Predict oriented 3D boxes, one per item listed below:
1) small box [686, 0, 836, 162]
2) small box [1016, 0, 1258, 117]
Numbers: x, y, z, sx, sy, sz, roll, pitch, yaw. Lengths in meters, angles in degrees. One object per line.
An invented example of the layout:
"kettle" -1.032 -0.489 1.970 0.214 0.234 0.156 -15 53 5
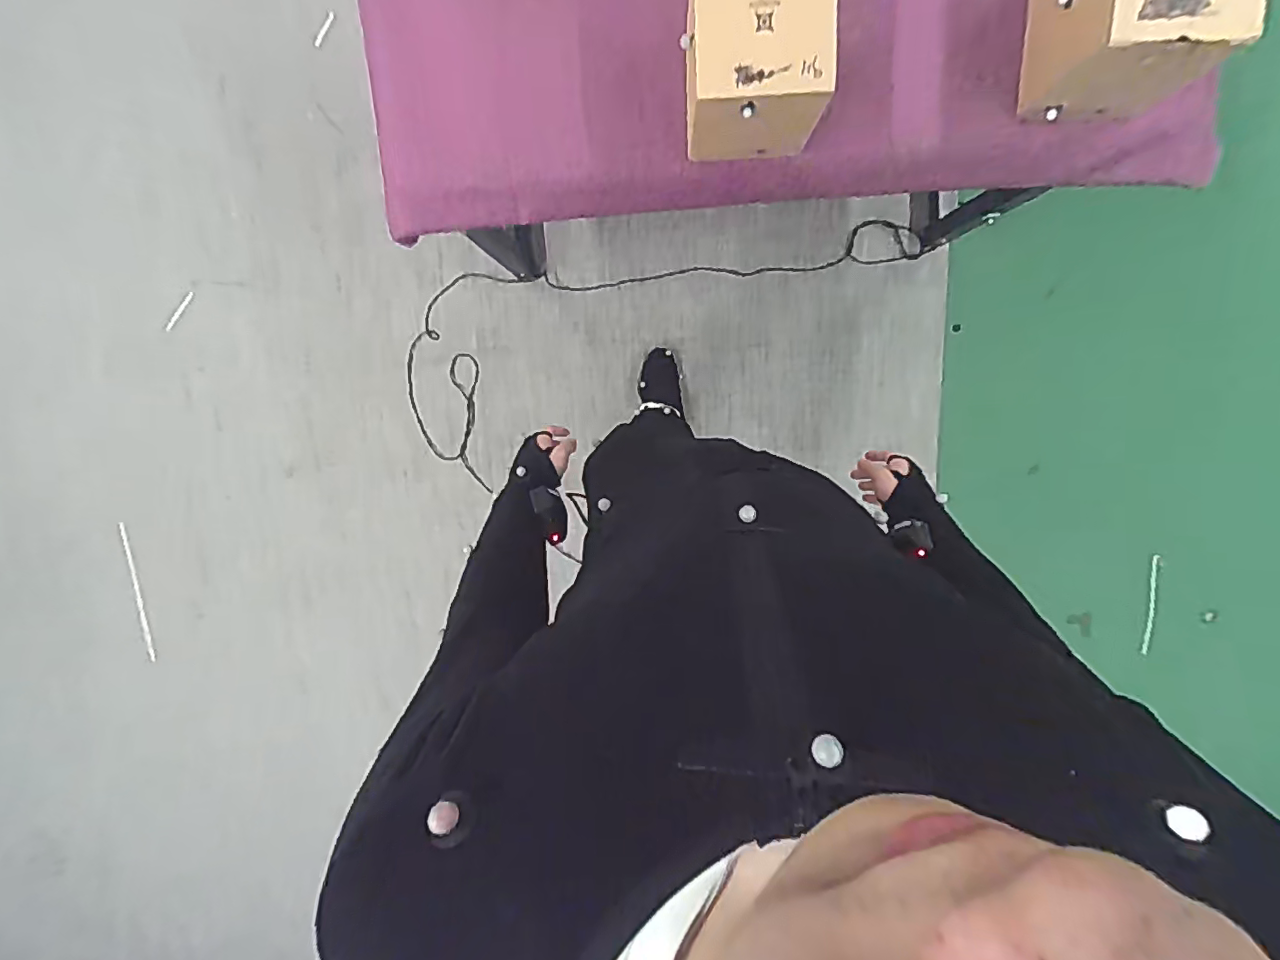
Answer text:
"small box" 0.147 -0.547 0.705 0.168 0.176 0.179 -2 98 2
"small box" 0.617 -0.591 0.685 0.168 0.176 0.179 1 98 2
